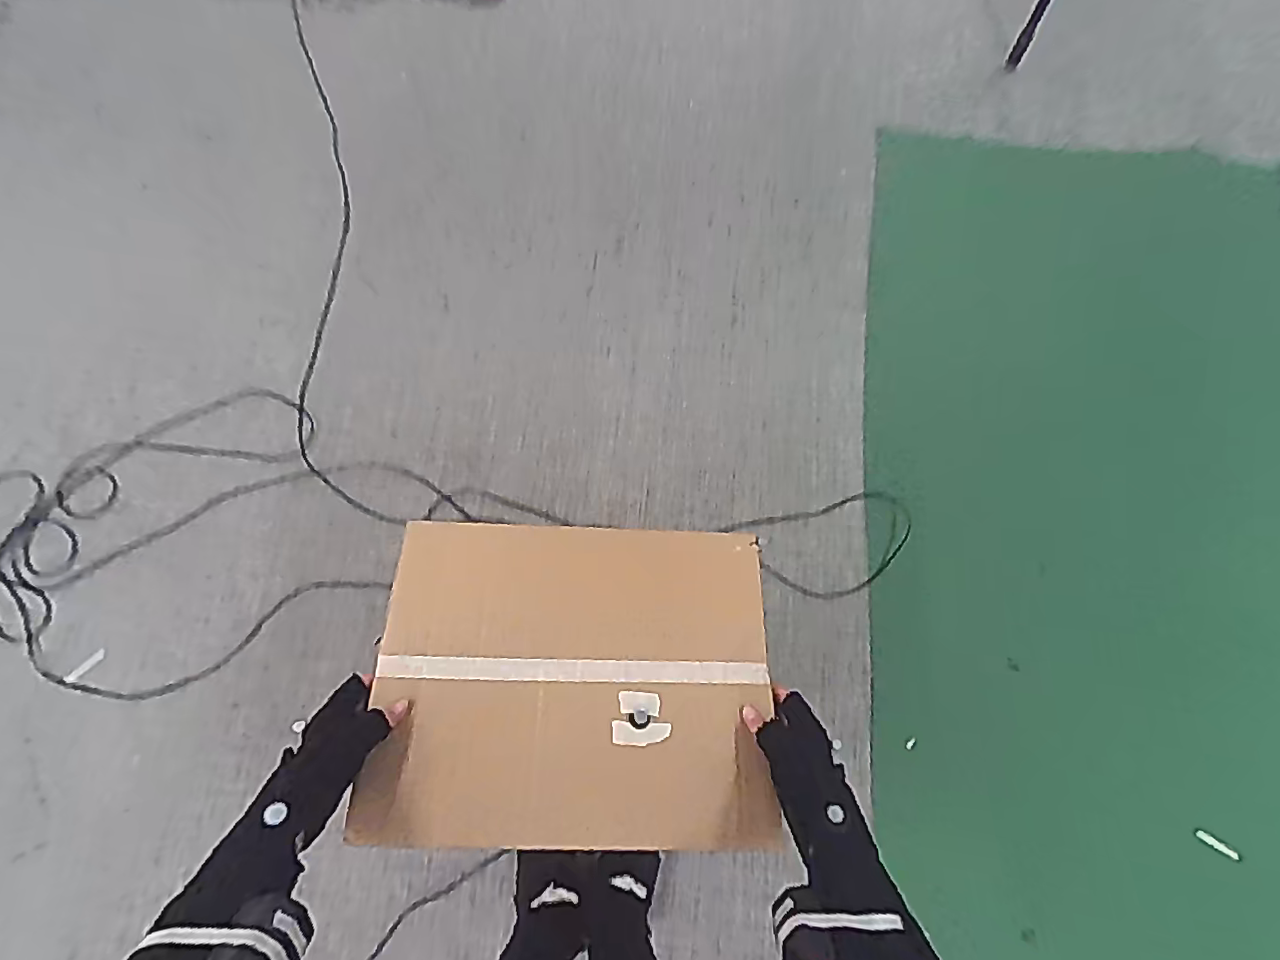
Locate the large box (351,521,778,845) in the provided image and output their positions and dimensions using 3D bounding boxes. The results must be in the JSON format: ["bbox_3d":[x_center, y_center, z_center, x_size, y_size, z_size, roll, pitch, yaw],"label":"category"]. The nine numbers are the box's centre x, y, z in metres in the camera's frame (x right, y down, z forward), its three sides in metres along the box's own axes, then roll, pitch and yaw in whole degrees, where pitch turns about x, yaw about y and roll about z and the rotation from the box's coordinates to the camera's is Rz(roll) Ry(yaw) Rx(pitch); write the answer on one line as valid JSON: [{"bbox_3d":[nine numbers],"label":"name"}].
[{"bbox_3d":[-0.077,0.255,0.695,0.408,0.320,0.320,3,66,-4],"label":"large box"}]
